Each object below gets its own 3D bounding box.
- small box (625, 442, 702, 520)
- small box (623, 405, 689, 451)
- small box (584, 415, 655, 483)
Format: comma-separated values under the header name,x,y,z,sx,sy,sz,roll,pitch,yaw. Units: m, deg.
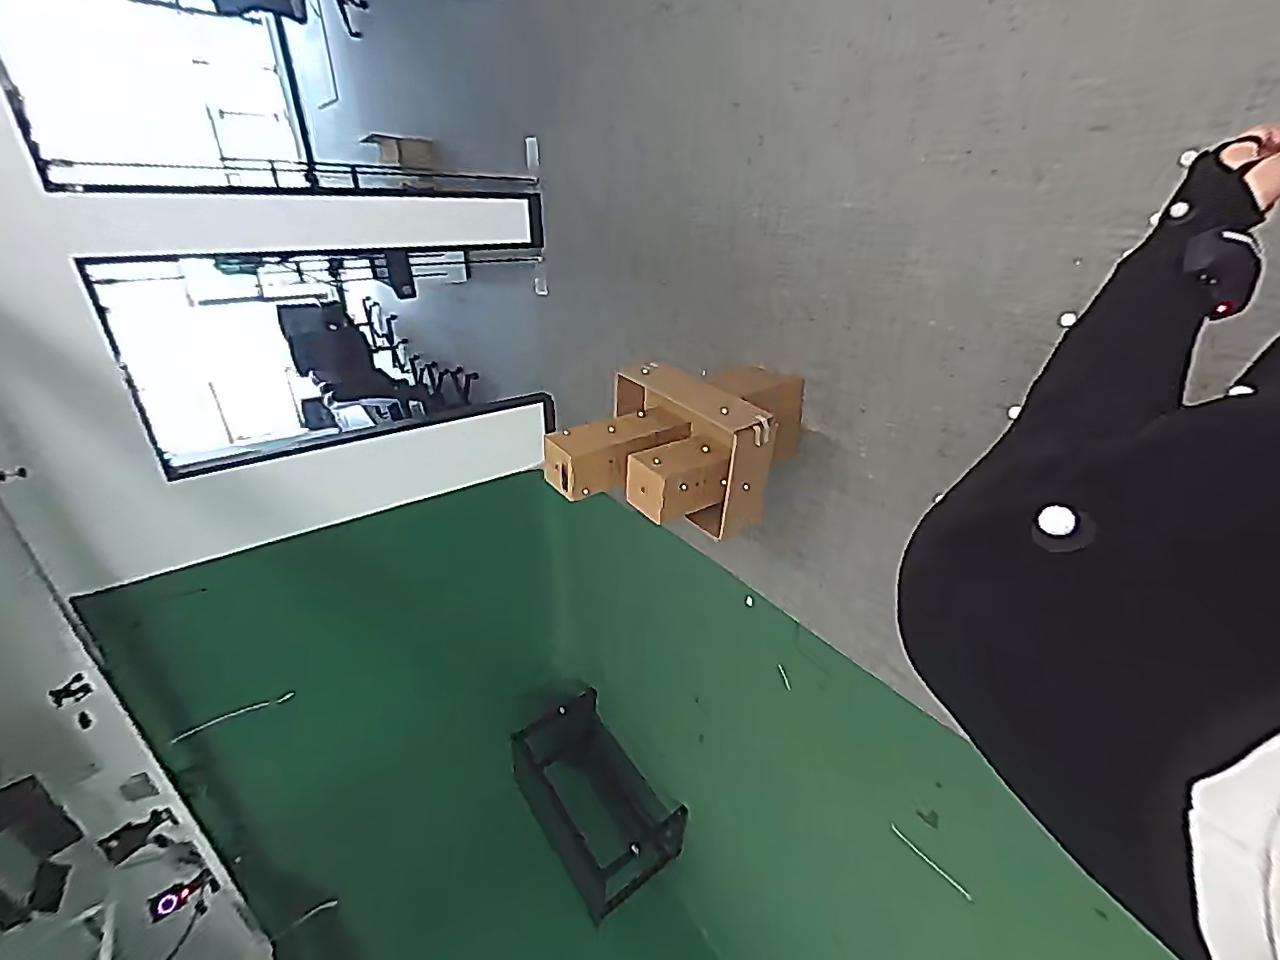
name,x,y,z,sx,sy,sz,roll,pitch,yaw
small box,0.074,-0.004,1.681,0.179,0.176,0.168,36,133,43
small box,0.053,-0.161,1.941,0.179,0.176,0.168,34,132,42
small box,-0.073,-0.115,1.849,0.179,0.176,0.168,33,130,41
